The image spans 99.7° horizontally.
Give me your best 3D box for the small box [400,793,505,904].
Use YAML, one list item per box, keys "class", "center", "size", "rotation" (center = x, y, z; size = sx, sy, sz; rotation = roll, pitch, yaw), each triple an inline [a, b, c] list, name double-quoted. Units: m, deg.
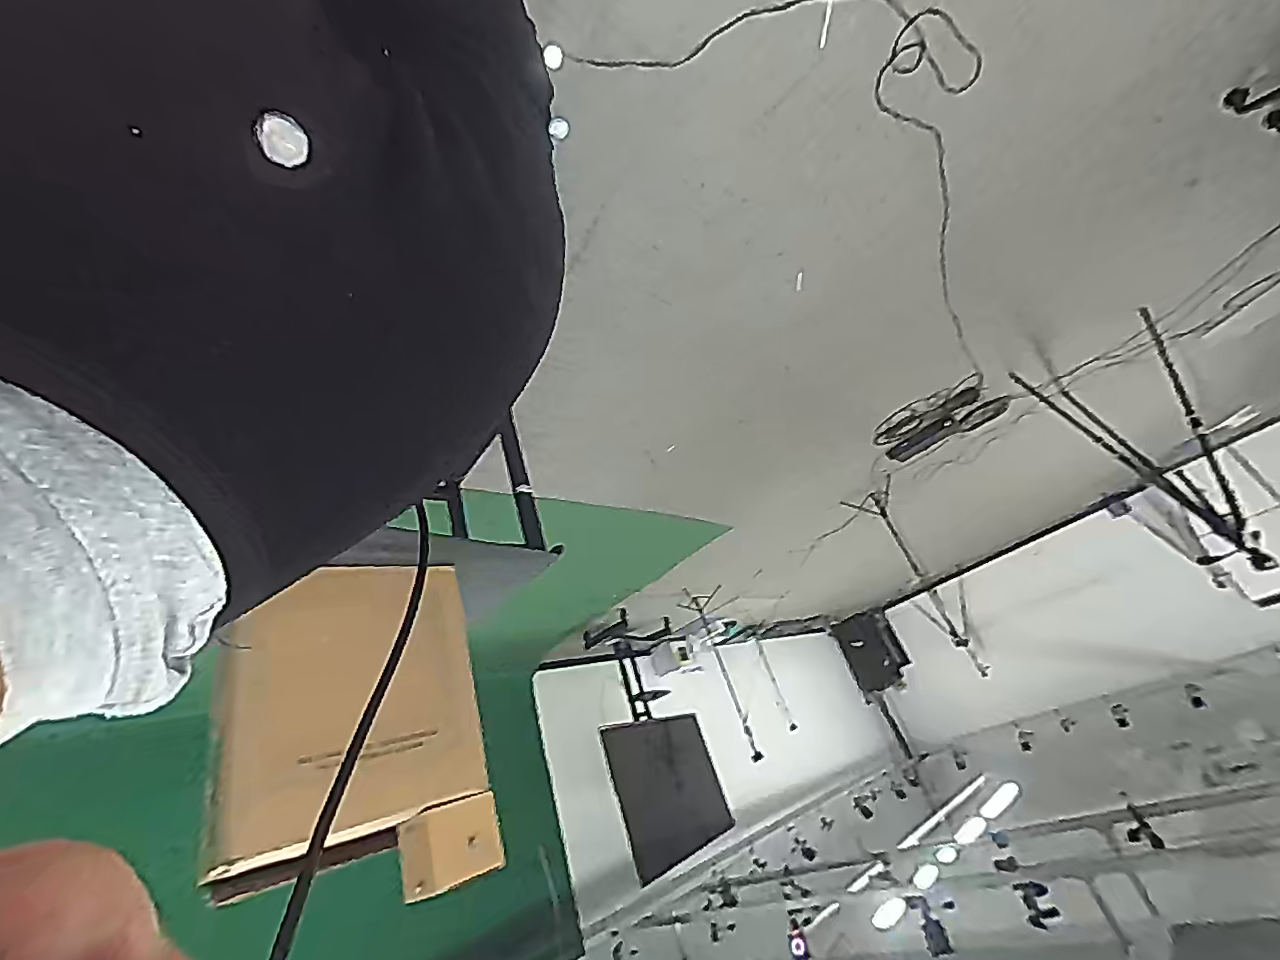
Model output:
- class: "small box"
  center: [-0.466, 0.899, 1.332]
  size: [0.179, 0.176, 0.168]
  rotation: [9, 139, -46]
